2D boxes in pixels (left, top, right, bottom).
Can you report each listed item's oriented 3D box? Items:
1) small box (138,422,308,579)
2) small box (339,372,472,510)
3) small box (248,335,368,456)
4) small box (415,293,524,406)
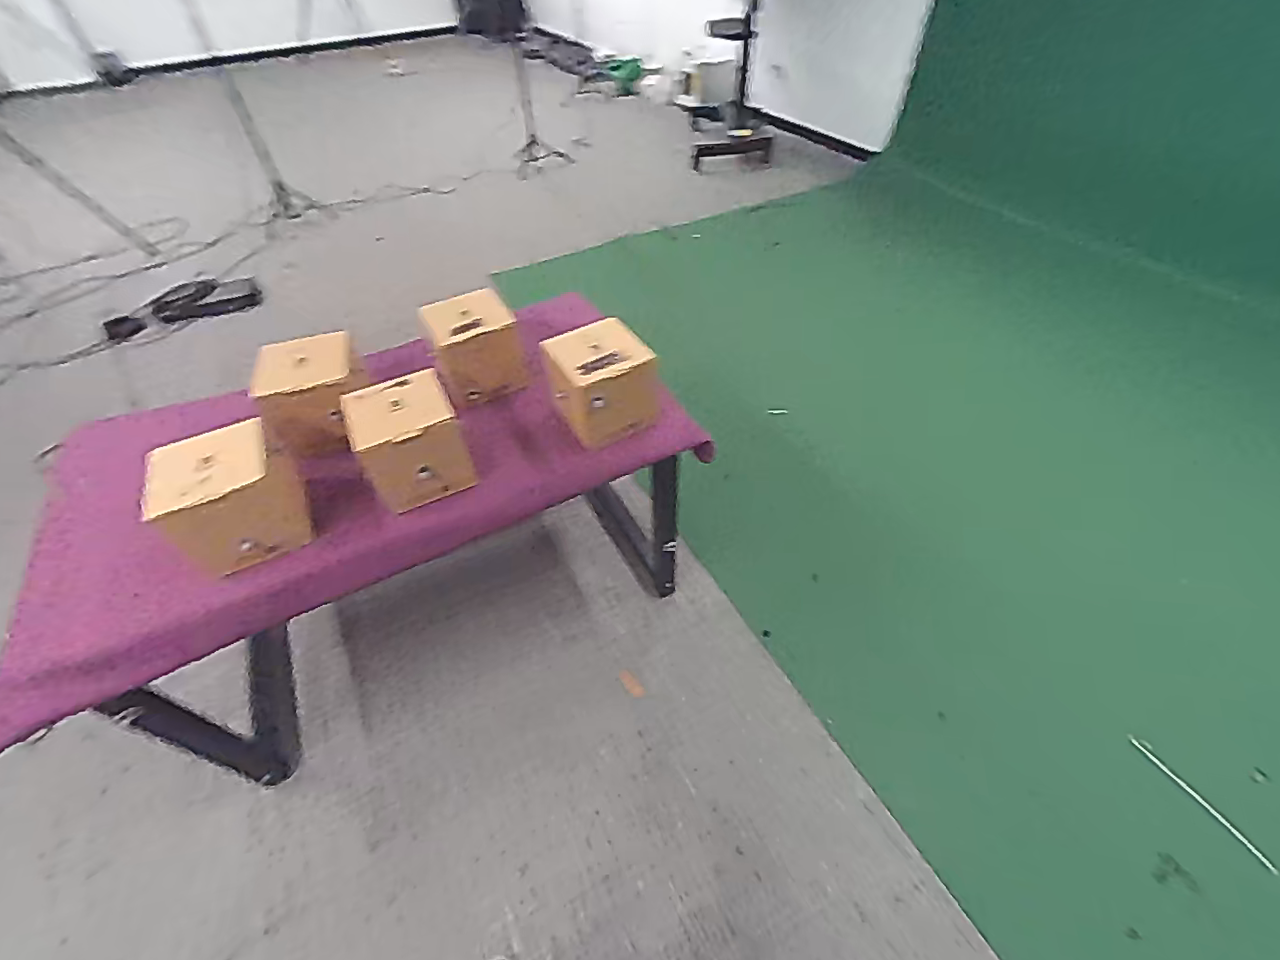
[{"bbox_3d":[-0.700,0.035,0.925,0.168,0.176,0.179,-23,51,-17],"label":"small box"},{"bbox_3d":[-0.431,-0.066,1.008,0.168,0.176,0.179,-22,50,-18],"label":"small box"},{"bbox_3d":[-0.662,-0.167,1.111,0.168,0.176,0.179,-15,49,-12],"label":"small box"},{"bbox_3d":[-0.375,-0.286,1.207,0.168,0.176,0.179,-24,50,-19],"label":"small box"}]
